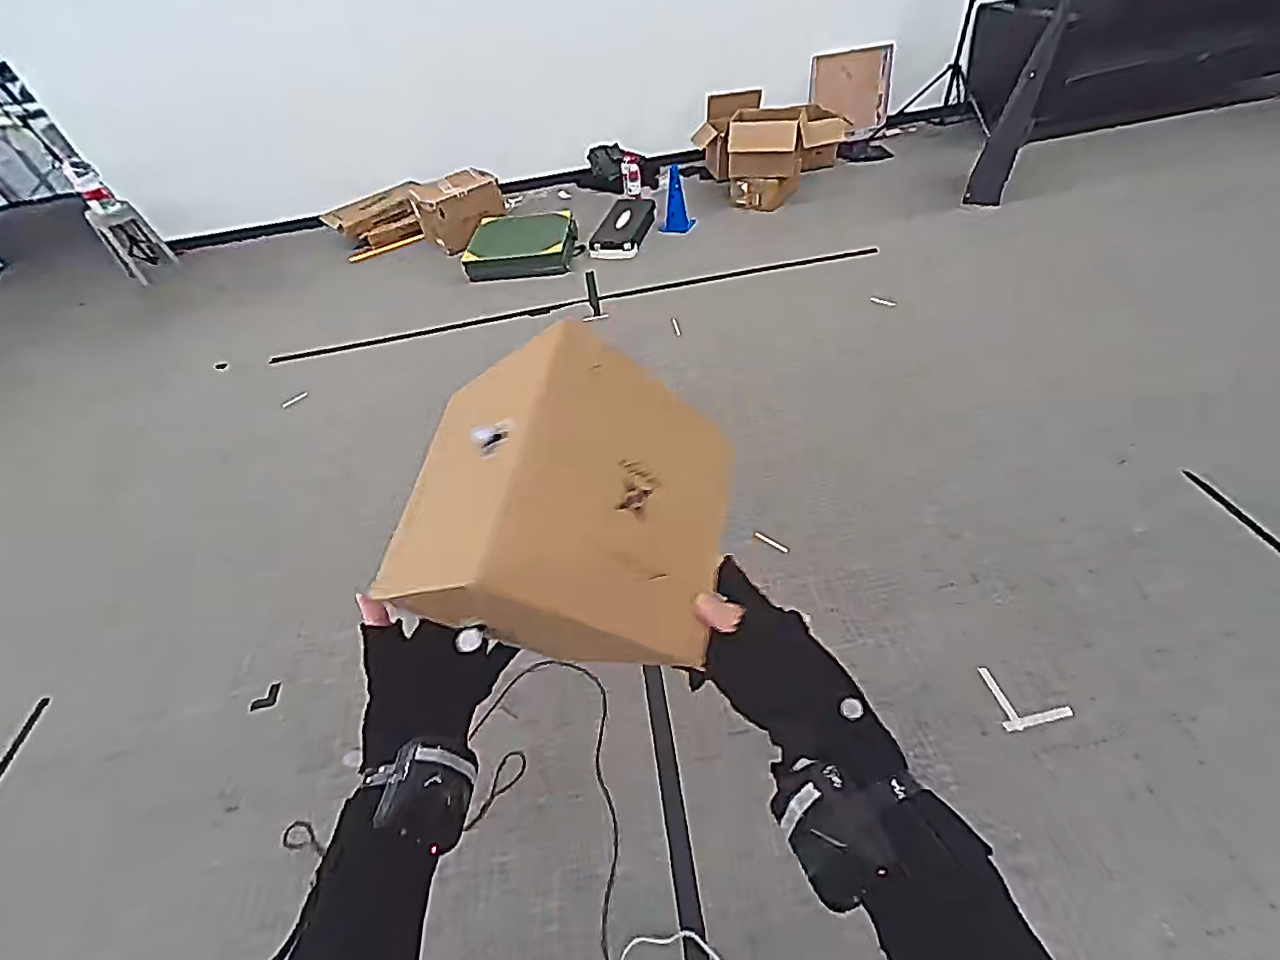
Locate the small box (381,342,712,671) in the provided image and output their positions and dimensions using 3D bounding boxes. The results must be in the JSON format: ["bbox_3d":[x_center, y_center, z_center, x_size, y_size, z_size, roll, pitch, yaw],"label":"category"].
[{"bbox_3d":[-0.070,0.035,0.414,0.176,0.168,0.179,-19,50,48],"label":"small box"}]
